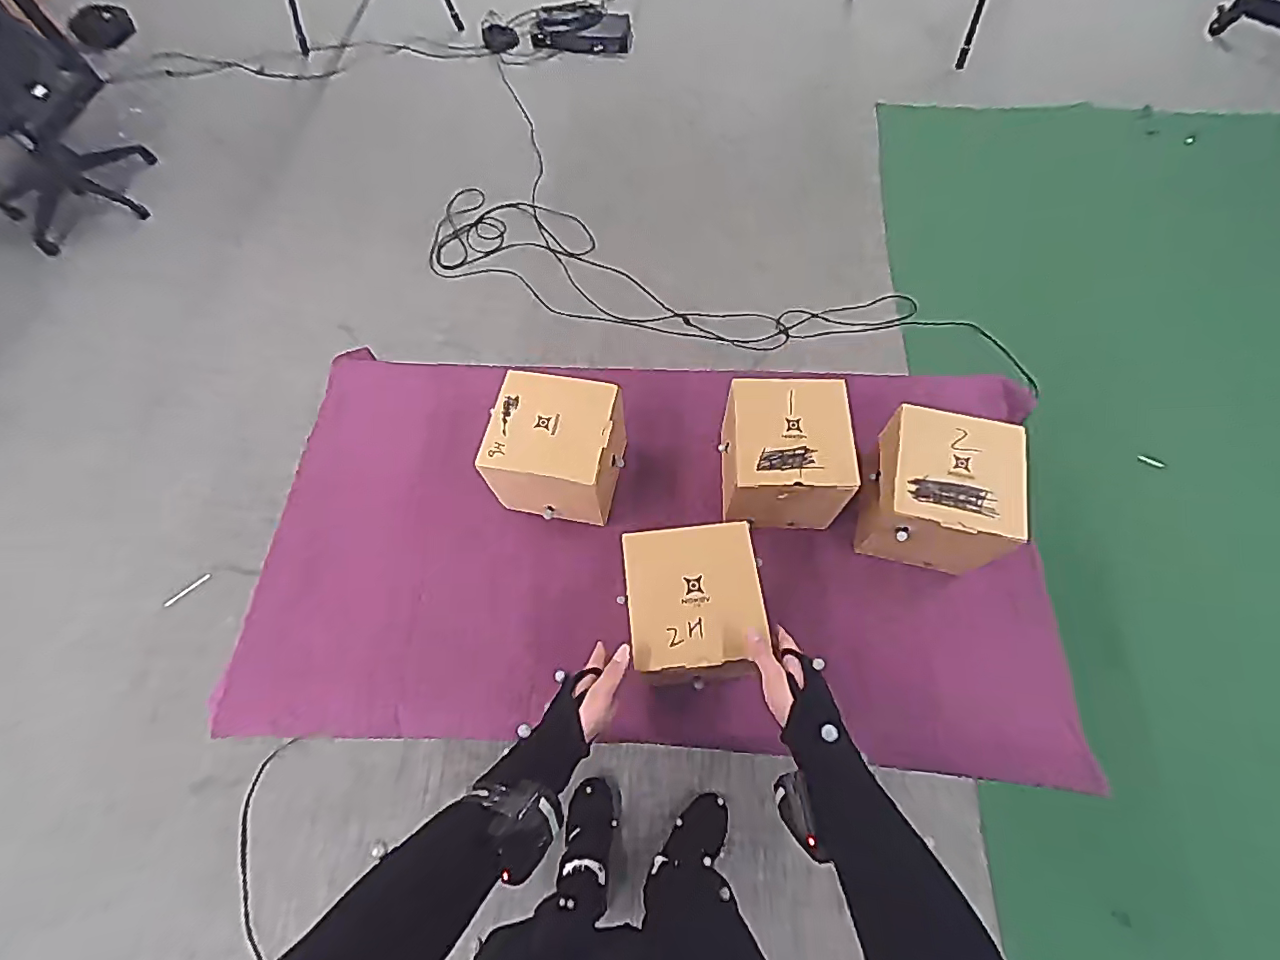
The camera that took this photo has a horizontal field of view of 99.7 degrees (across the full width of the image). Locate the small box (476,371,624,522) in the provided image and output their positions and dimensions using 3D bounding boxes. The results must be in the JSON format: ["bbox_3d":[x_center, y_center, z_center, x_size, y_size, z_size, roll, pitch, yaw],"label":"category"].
[{"bbox_3d":[-0.126,-0.044,0.847,0.179,0.176,0.168,10,66,6],"label":"small box"}]

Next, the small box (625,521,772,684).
[{"bbox_3d":[0.069,0.173,0.737,0.168,0.176,0.179,-6,64,0],"label":"small box"}]
